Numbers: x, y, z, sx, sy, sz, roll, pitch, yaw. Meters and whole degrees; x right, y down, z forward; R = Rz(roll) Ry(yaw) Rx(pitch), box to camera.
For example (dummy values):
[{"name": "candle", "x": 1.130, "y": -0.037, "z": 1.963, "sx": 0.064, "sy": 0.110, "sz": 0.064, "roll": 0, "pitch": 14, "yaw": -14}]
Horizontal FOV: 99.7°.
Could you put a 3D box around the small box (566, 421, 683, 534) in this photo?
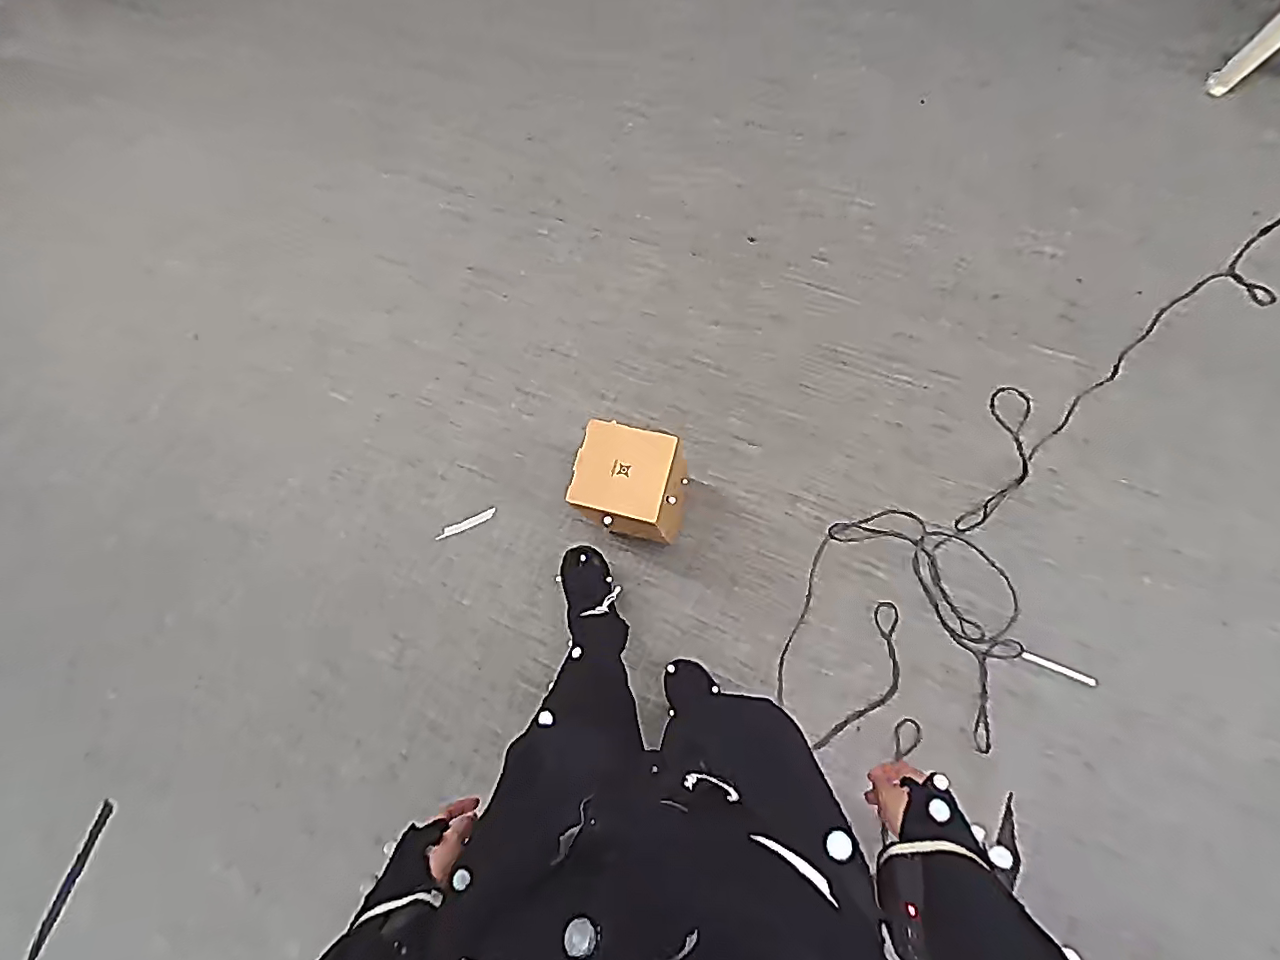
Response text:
[{"name": "small box", "x": -0.019, "y": 0.003, "z": 1.051, "sx": 0.179, "sy": 0.176, "sz": 0.168, "roll": 12, "pitch": 78, "yaw": 12}]
